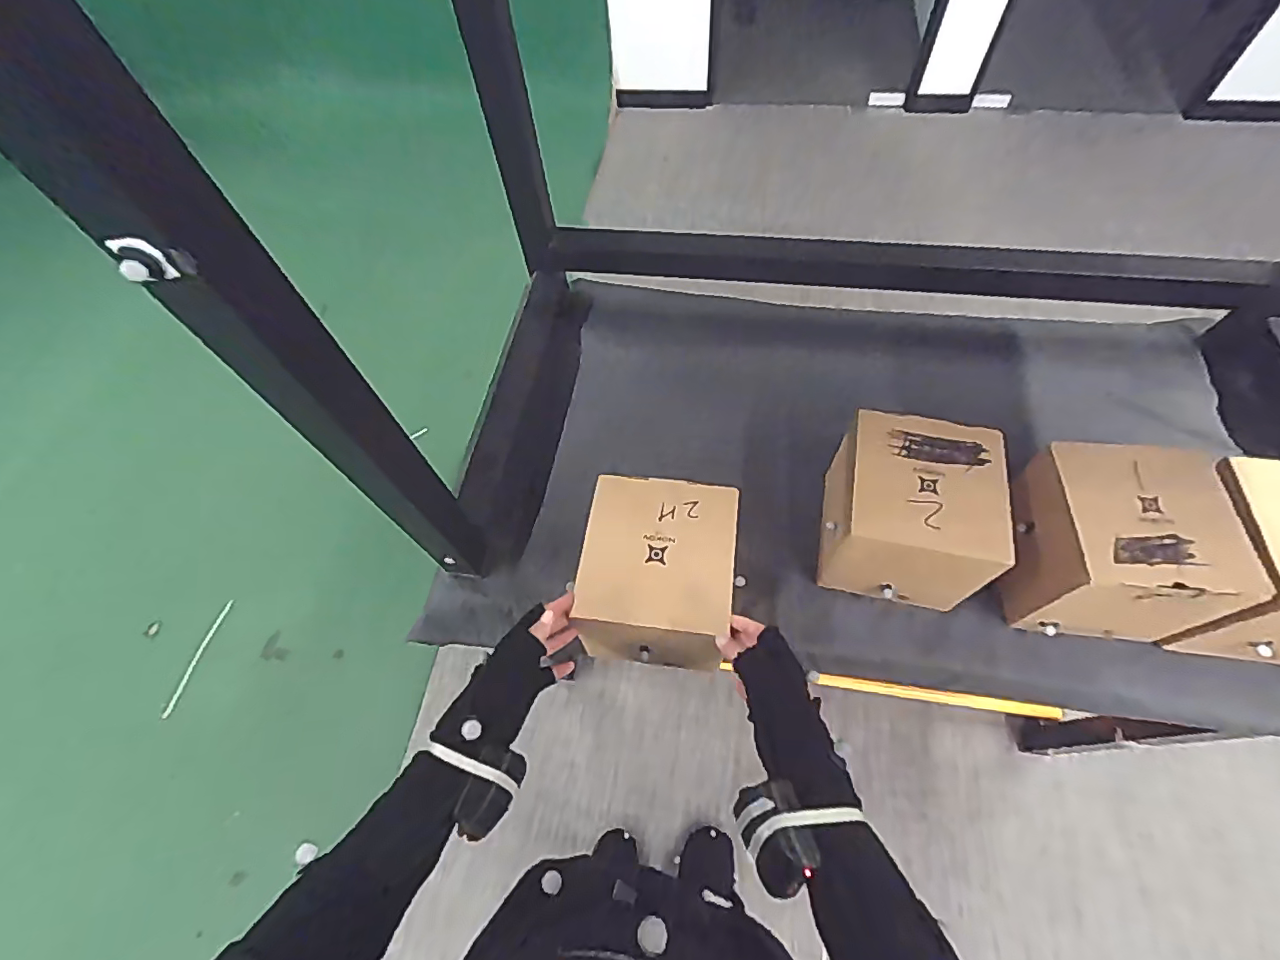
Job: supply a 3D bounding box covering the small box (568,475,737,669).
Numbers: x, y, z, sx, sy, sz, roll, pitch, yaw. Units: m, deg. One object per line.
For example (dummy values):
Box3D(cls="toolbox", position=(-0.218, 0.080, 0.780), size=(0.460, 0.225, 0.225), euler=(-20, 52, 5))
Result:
Box3D(cls="small box", position=(0.022, 0.117, 0.650), size=(0.168, 0.176, 0.179), euler=(6, 59, 6))
